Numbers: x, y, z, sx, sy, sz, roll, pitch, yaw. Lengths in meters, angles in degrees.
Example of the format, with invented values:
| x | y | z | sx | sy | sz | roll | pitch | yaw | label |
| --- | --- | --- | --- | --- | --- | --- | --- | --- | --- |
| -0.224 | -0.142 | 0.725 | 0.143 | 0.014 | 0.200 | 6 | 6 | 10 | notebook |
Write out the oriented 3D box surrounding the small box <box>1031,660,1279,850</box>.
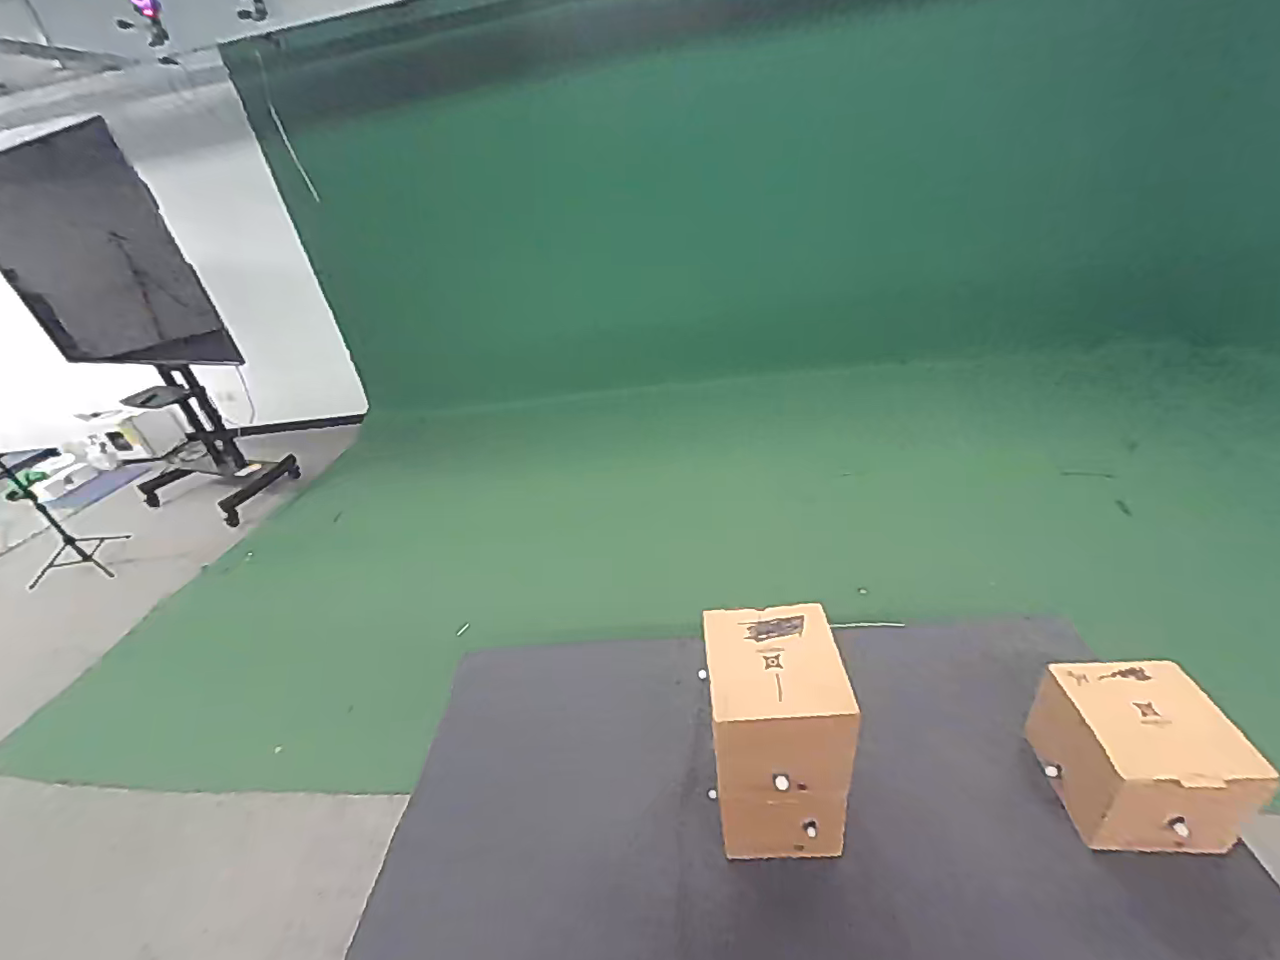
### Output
| x | y | z | sx | sy | sz | roll | pitch | yaw | label |
| --- | --- | --- | --- | --- | --- | --- | --- | --- | --- |
| 0.676 | 0.372 | 0.736 | 0.168 | 0.176 | 0.179 | -4 | 32 | 10 | small box |

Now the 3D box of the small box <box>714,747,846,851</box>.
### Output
| x | y | z | sx | sy | sz | roll | pitch | yaw | label |
| --- | --- | --- | --- | --- | --- | --- | --- | --- | --- |
| 0.196 | 0.418 | 0.798 | 0.168 | 0.176 | 0.179 | -5 | 30 | 6 | small box |

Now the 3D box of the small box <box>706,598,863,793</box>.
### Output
| x | y | z | sx | sy | sz | roll | pitch | yaw | label |
| --- | --- | --- | --- | --- | --- | --- | --- | --- | --- |
| 0.176 | 0.280 | 0.711 | 0.168 | 0.176 | 0.179 | -5 | 32 | 5 | small box |
